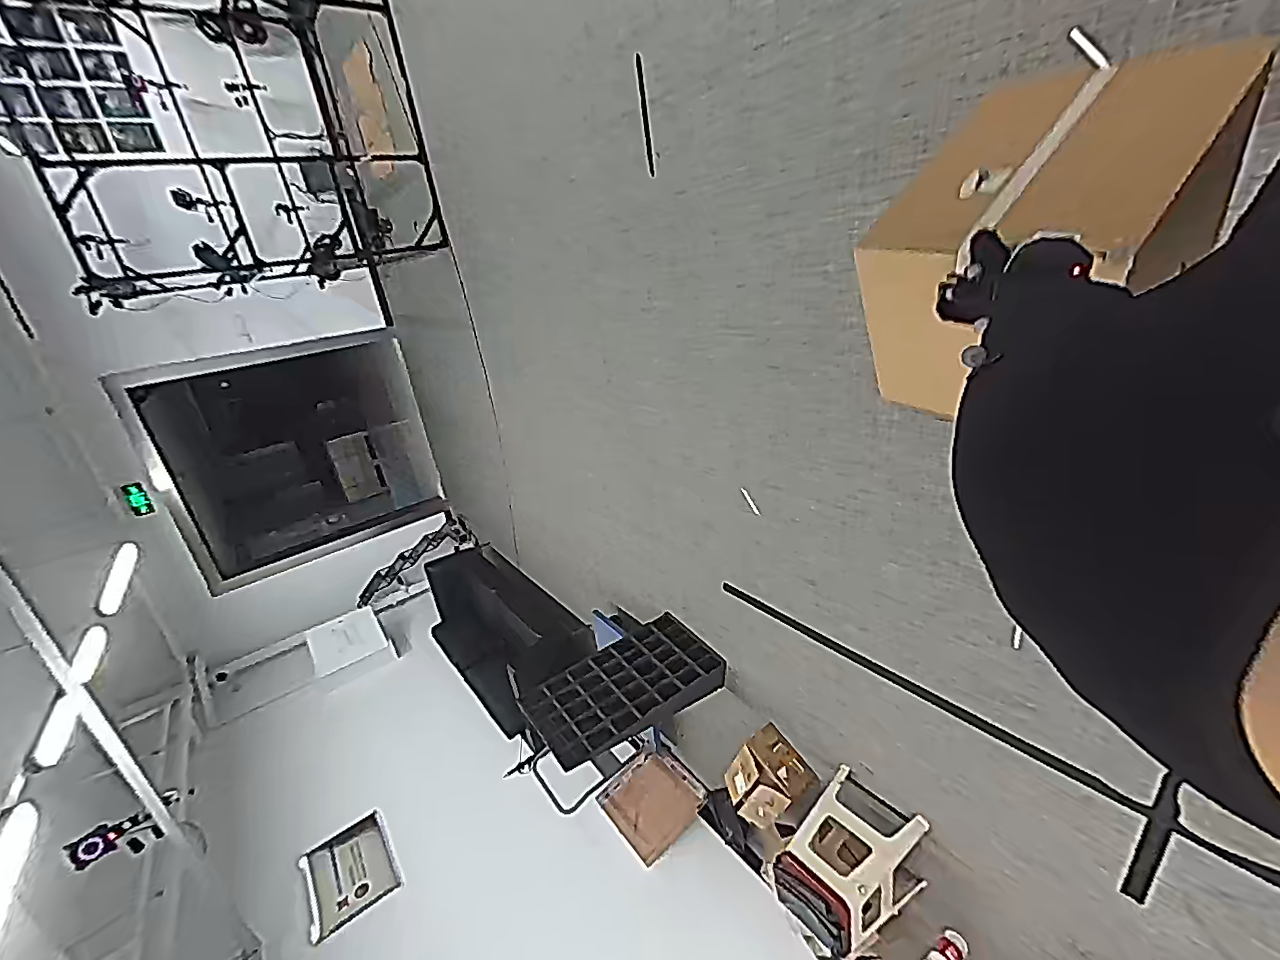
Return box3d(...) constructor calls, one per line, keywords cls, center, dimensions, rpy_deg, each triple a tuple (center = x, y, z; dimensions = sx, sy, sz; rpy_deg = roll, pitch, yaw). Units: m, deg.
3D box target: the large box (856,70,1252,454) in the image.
box3d(cls="large box", center=(0.593, -0.314, 0.813), dimensions=(0.320, 0.408, 0.320), rpy_deg=(27, 160, 47))
